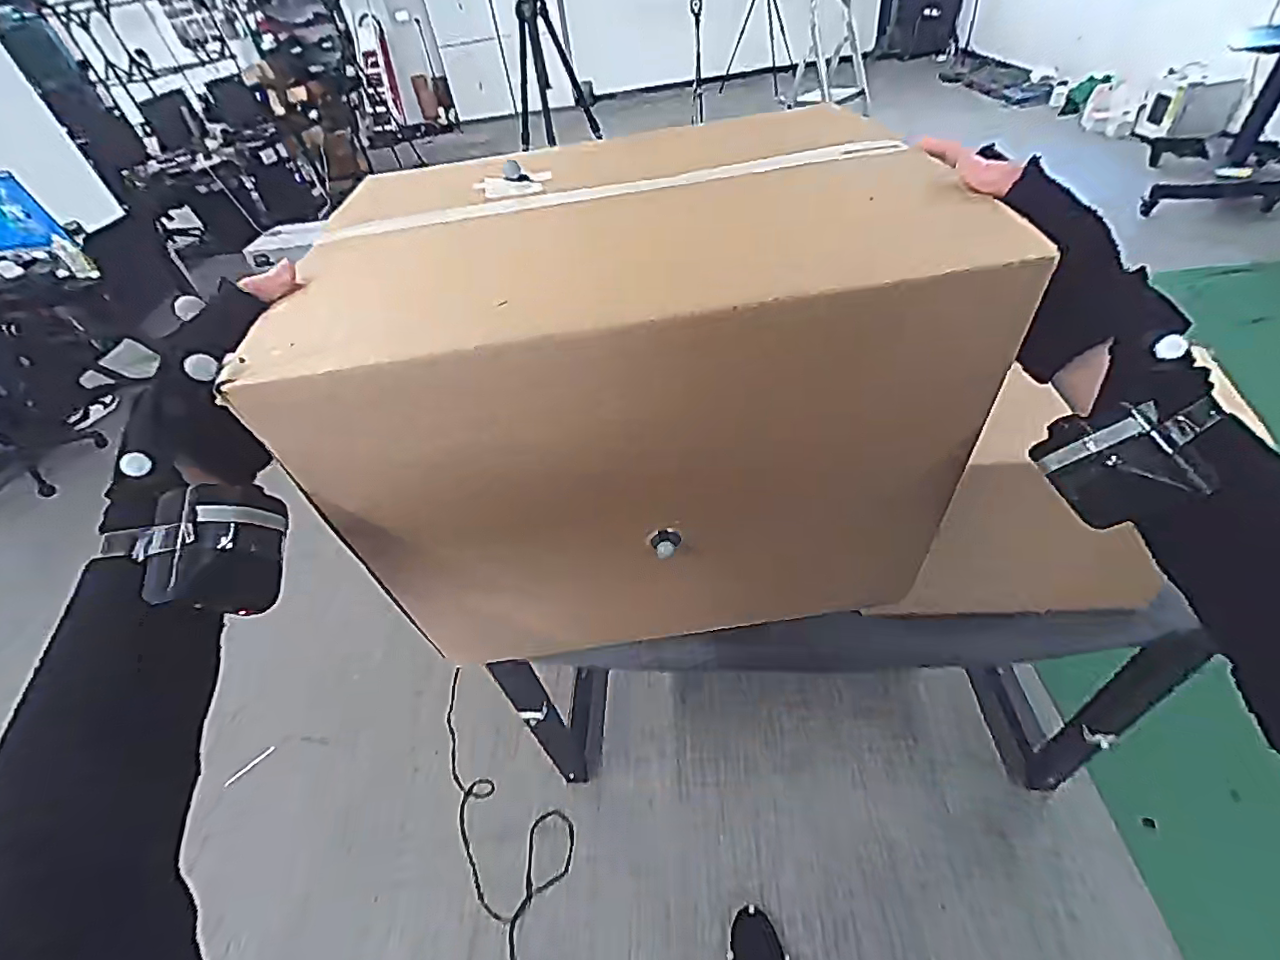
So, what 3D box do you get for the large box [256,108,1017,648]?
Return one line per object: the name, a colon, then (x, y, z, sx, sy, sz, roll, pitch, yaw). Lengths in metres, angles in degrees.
large box: (0.000, -0.083, 0.483, 0.408, 0.320, 0.320, -9, 46, 1)
